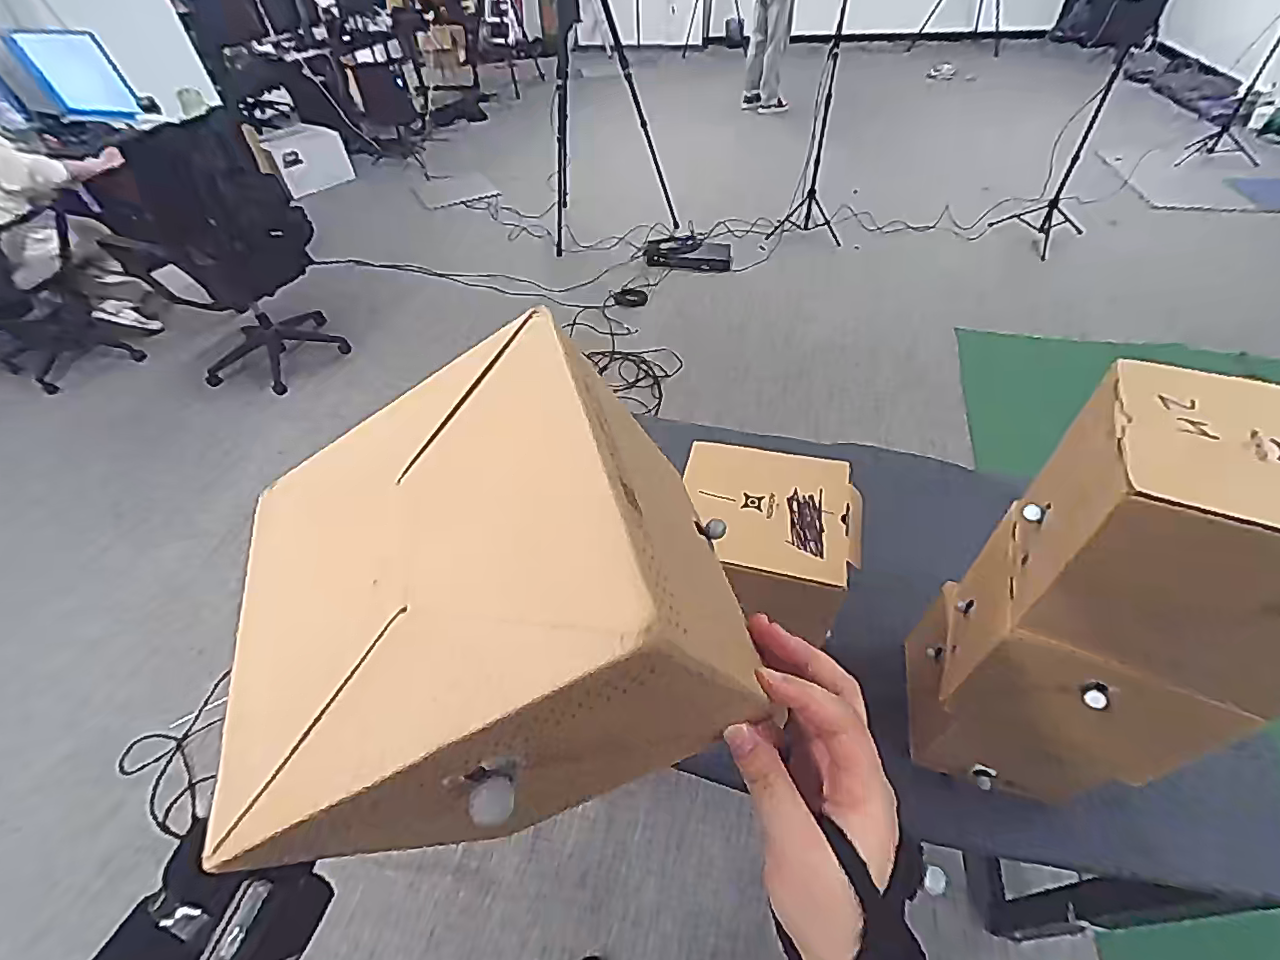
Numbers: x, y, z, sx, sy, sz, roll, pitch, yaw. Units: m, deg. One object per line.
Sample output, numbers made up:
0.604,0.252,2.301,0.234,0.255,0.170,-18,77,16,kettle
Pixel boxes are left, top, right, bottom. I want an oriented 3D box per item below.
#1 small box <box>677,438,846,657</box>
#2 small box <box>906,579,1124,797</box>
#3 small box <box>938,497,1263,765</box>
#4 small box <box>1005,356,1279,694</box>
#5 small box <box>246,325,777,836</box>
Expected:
0.123,0.079,0.614,0.179,0.176,0.168,10,48,13,small box
0.435,0.252,0.658,0.168,0.176,0.179,9,48,13,small box
0.422,0.150,0.531,0.179,0.176,0.168,18,50,21,small box
0.417,0.035,0.413,0.179,0.176,0.168,19,50,22,small box
-0.062,0.058,0.273,0.179,0.176,0.168,-30,54,11,small box
